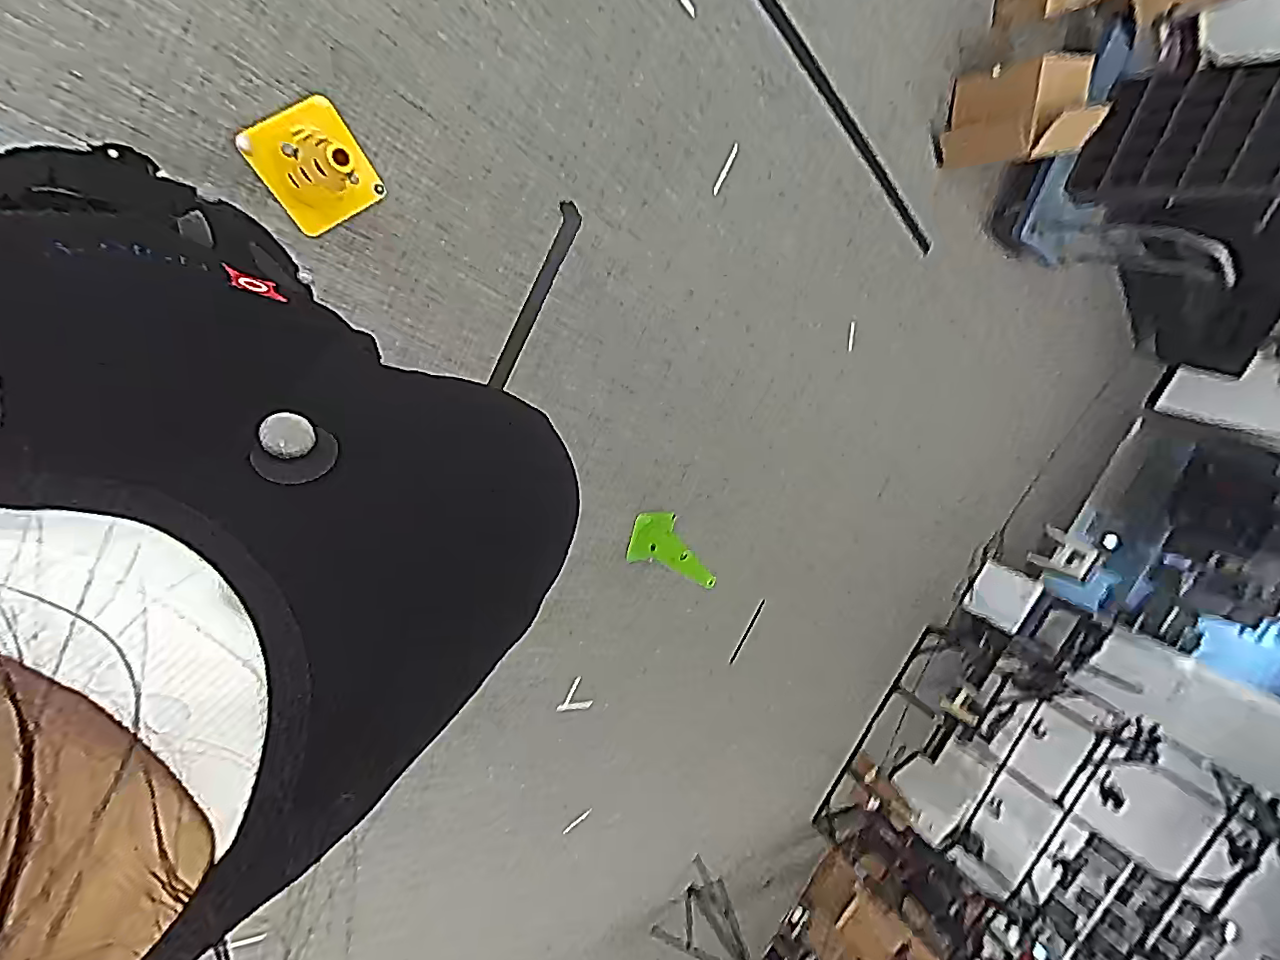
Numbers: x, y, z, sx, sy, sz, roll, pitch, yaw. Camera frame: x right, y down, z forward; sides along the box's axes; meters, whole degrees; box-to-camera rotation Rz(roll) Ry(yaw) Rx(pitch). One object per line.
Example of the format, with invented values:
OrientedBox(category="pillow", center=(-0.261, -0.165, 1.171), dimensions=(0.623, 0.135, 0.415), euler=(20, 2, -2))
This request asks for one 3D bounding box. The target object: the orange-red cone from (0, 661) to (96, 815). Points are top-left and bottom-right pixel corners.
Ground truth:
OrientedBox(category="orange-red cone", center=(-1.235, 0.542, 1.037), dimensions=(0.198, 0.360, 0.199), euler=(29, 92, -44))

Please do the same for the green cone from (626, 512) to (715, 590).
OrientedBox(category="green cone", center=(0.140, 0.286, 1.982), dimensions=(0.200, 0.368, 0.202), euler=(0, 114, -37))
